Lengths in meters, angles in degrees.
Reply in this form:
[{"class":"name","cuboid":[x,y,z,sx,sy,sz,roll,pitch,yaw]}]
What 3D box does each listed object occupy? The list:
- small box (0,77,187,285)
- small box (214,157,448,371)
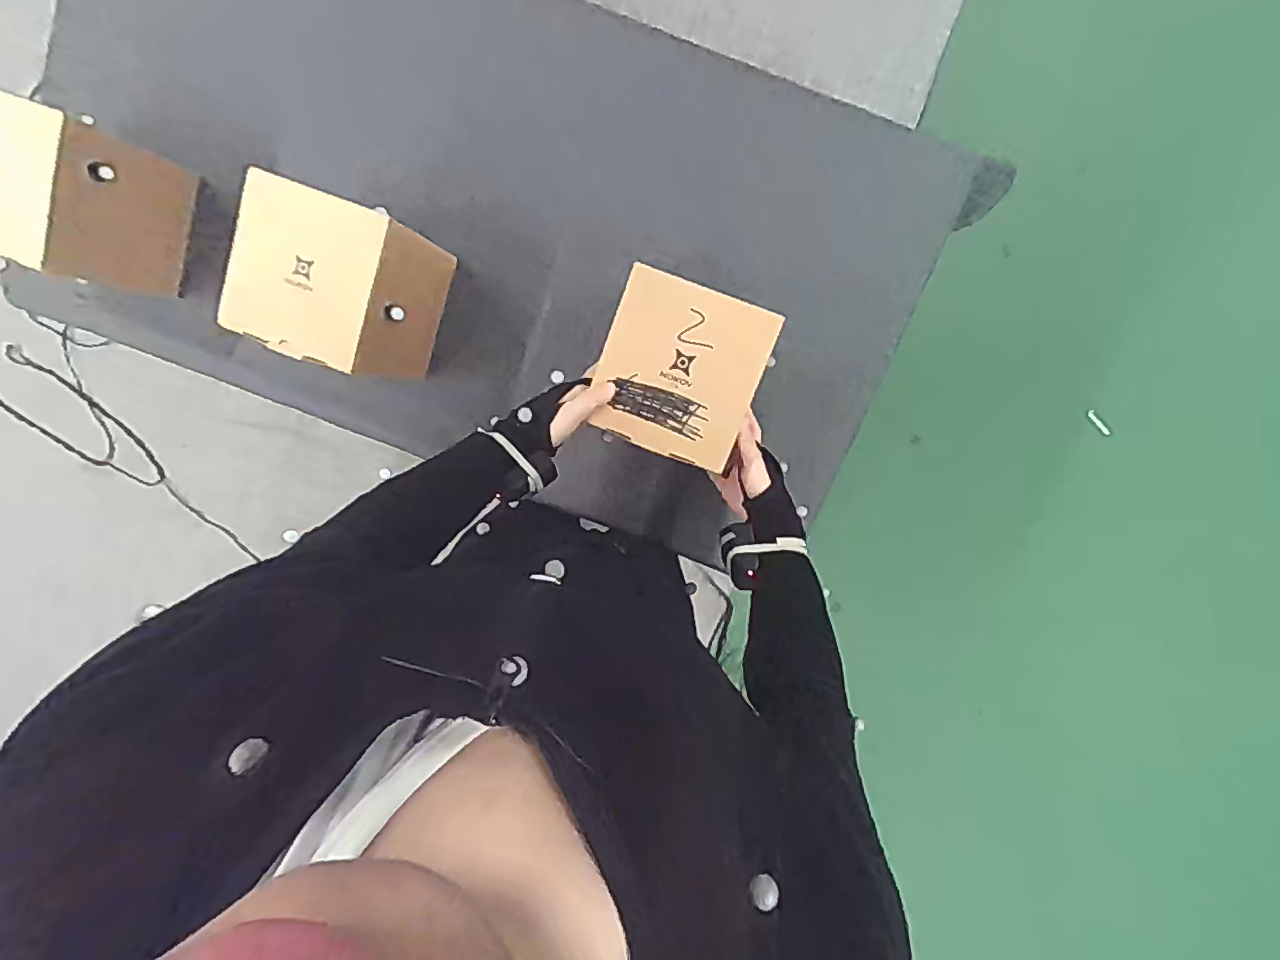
[{"class":"small box","cuboid":[-0.712,-0.363,0.664,0.168,0.176,0.179,20,100,2]},{"class":"small box","cuboid":[-0.357,-0.244,0.657,0.168,0.176,0.179,21,101,1]}]
